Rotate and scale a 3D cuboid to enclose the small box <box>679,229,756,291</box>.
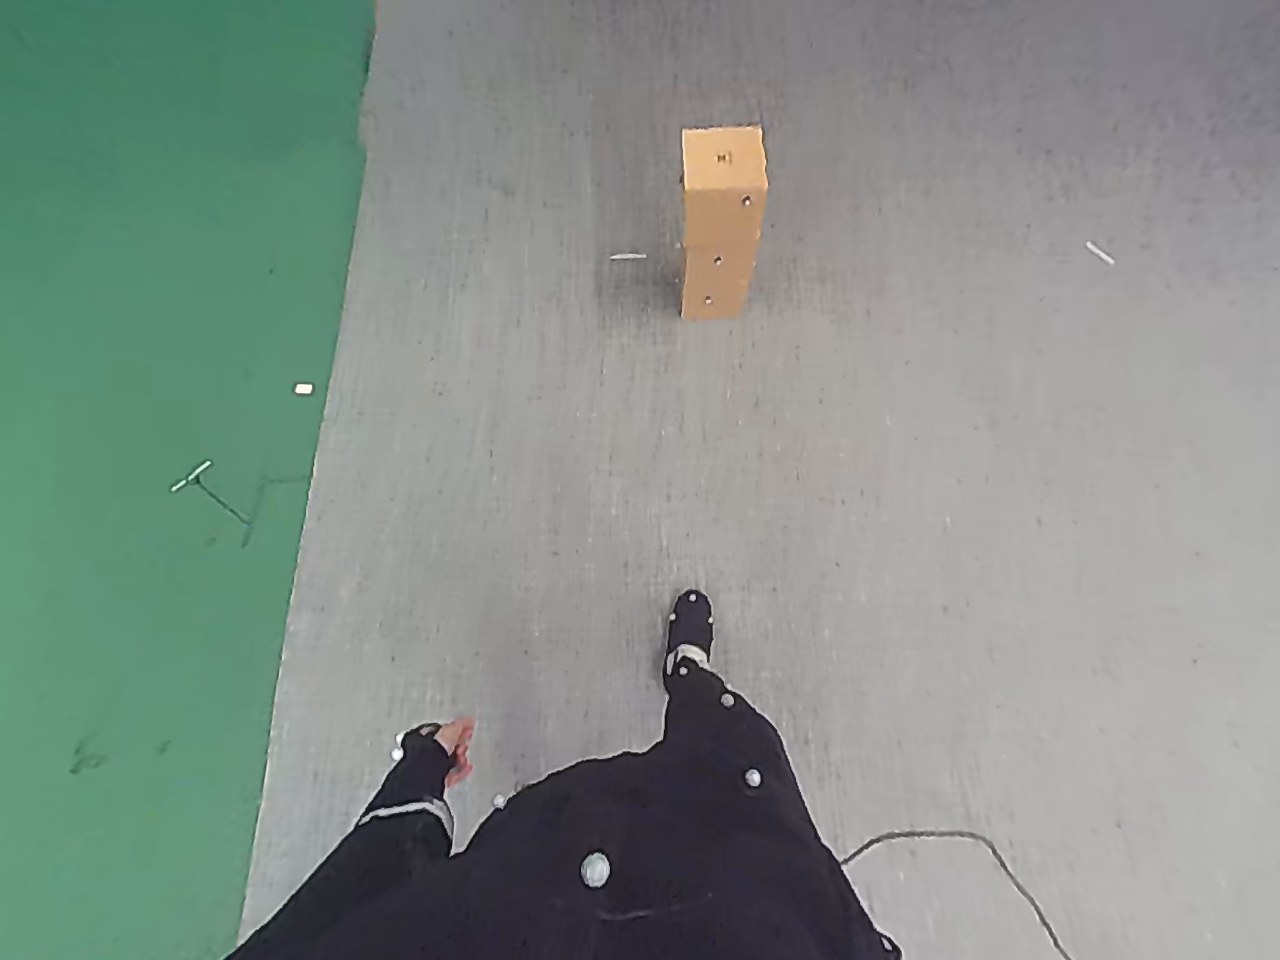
[{"bbox_3d":[0.195,-0.615,1.407,0.179,0.176,0.168,-4,72,2],"label":"small box"}]

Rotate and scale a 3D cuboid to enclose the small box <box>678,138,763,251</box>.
[{"bbox_3d":[0.177,-0.650,1.248,0.179,0.176,0.168,-2,73,1],"label":"small box"}]
